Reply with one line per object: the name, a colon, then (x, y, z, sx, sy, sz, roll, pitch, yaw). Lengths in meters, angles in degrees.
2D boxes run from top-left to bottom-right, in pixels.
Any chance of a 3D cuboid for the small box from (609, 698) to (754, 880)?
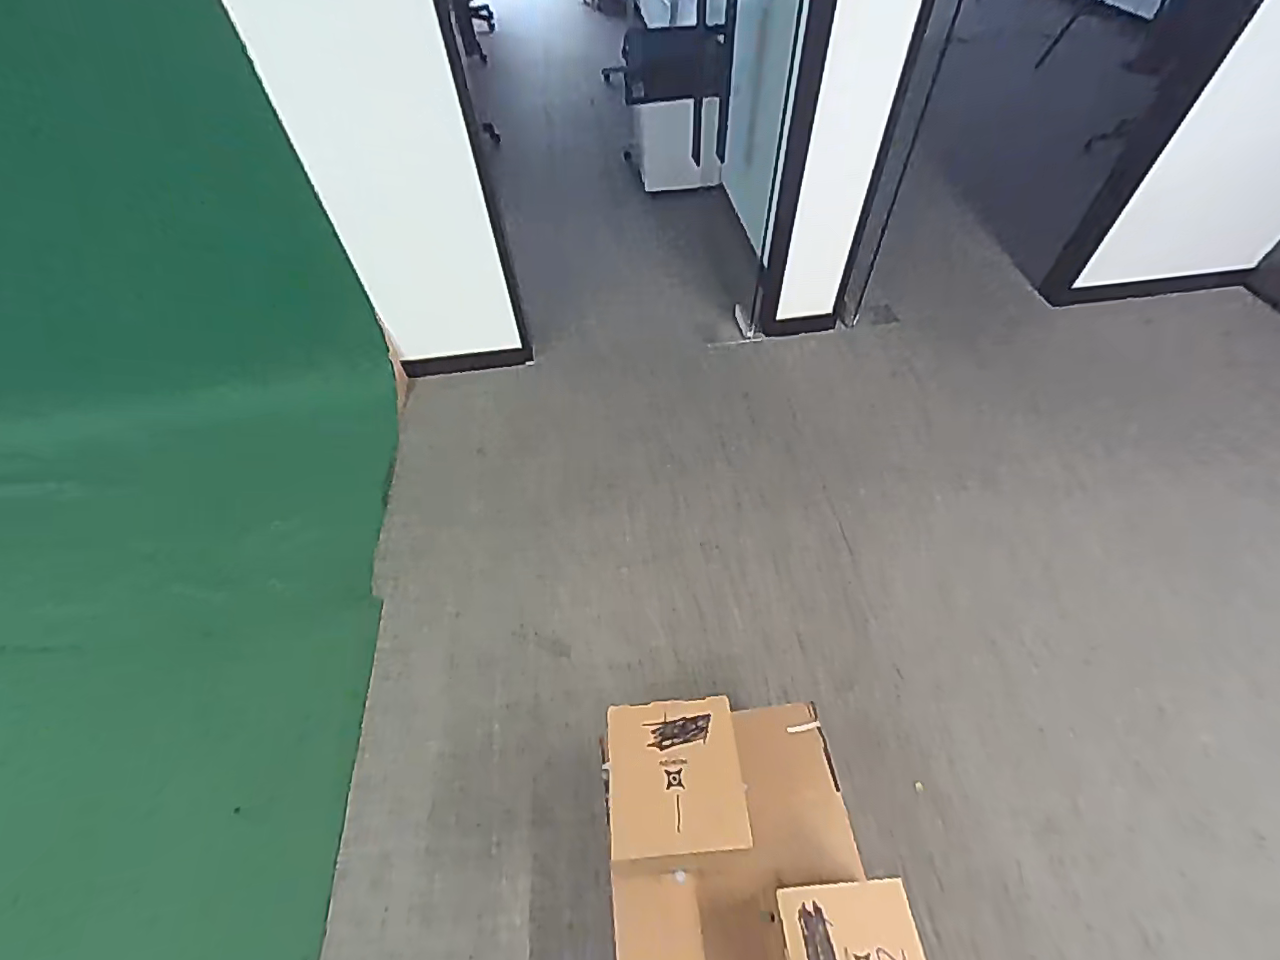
small box: (0.048, 0.420, 0.733, 0.168, 0.176, 0.179, -6, 49, -1)
